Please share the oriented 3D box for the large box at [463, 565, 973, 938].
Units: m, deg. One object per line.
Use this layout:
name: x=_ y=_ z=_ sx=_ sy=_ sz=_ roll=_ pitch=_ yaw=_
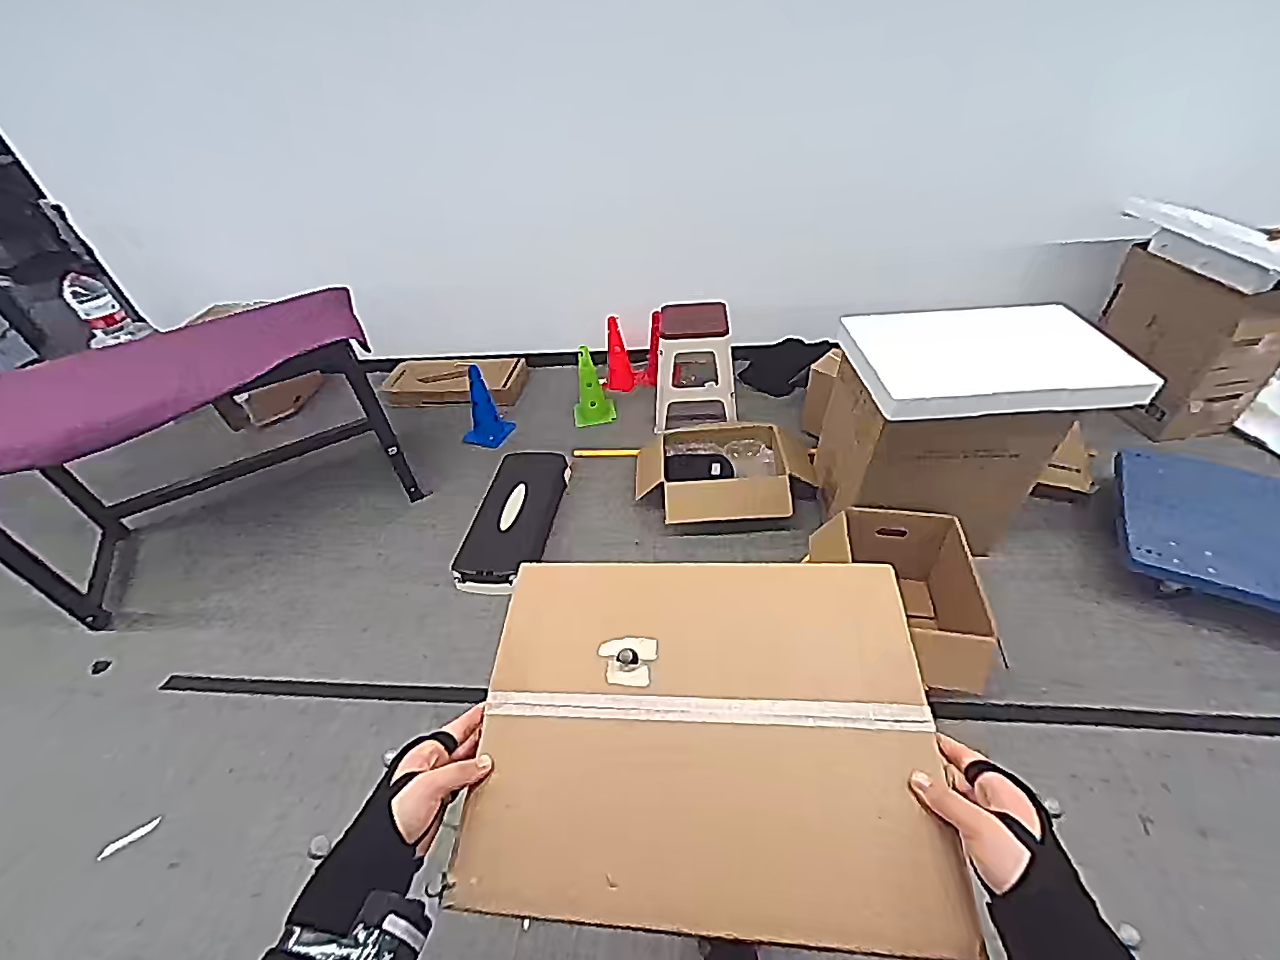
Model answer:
large box: x=0.078 y=0.314 z=0.625 sx=0.408 sy=0.320 sz=0.320 roll=-3 pitch=49 yaw=9
